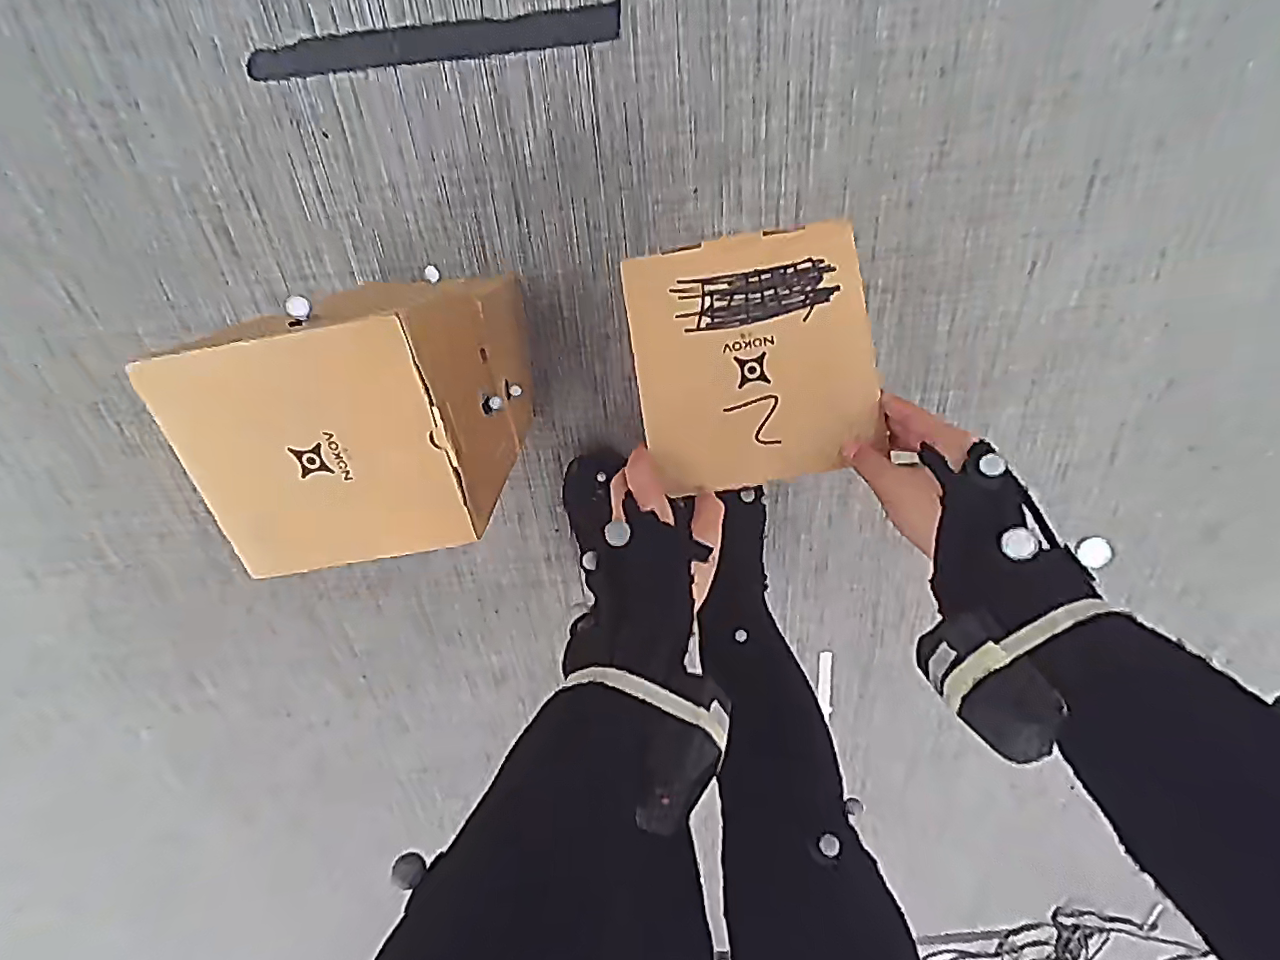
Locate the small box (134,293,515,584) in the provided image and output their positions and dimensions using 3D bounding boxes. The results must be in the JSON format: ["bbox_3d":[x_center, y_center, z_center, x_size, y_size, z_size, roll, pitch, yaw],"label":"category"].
[{"bbox_3d":[-0.216,-0.044,0.432,0.179,0.176,0.168,-10,116,2],"label":"small box"}]

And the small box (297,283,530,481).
[{"bbox_3d":[-0.219,-0.108,0.582,0.168,0.176,0.179,-4,116,-1],"label":"small box"}]
